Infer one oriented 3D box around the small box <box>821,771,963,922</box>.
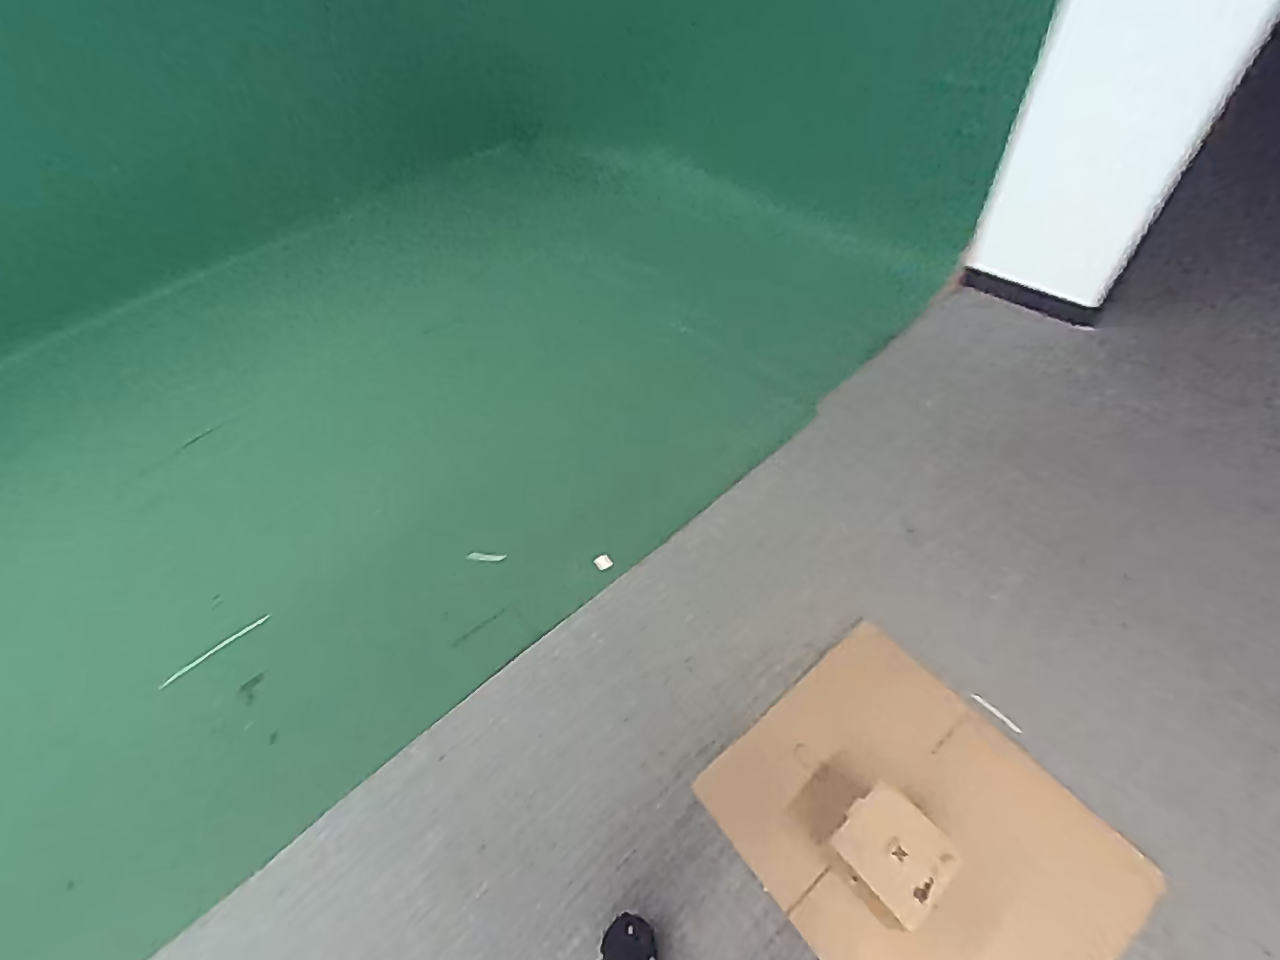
[{"bbox_3d":[0.474,0.712,1.046,0.168,0.176,0.179,-38,55,-21],"label":"small box"}]
